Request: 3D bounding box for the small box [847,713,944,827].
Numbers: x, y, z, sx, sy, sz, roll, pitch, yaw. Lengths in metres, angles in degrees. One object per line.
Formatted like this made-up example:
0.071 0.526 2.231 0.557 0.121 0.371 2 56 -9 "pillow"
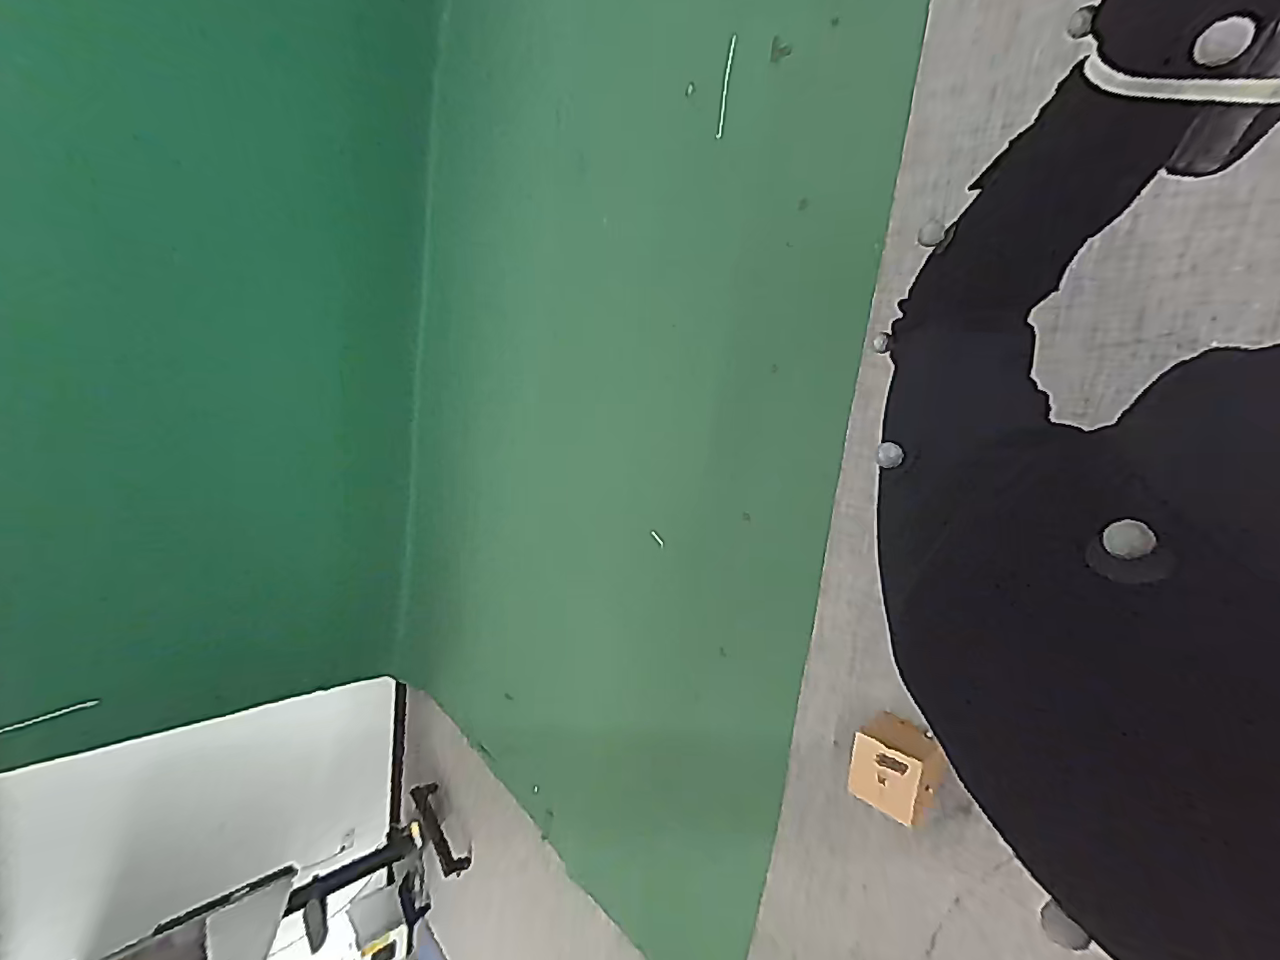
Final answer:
0.667 0.739 1.403 0.168 0.176 0.179 14 102 46 "small box"
